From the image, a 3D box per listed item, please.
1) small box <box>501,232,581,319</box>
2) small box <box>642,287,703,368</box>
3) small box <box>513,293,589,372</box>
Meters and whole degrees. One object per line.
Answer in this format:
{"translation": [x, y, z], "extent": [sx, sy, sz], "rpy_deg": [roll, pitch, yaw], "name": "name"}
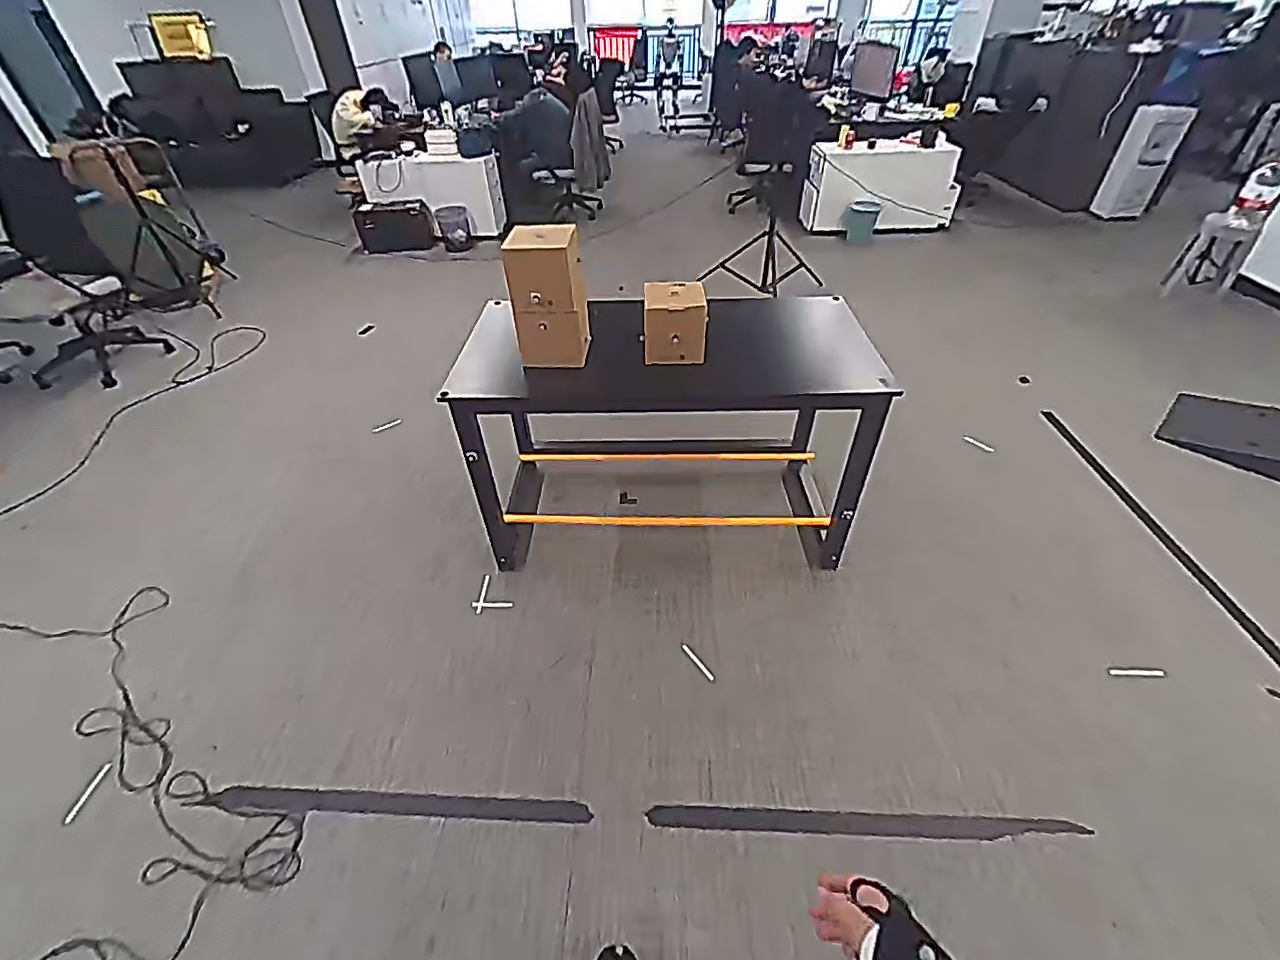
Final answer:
{"translation": [-0.253, -0.539, 1.426], "extent": [0.168, 0.176, 0.179], "rpy_deg": [-1, 42, 3], "name": "small box"}
{"translation": [0.091, -0.430, 1.538], "extent": [0.168, 0.176, 0.179], "rpy_deg": [-2, 41, 1], "name": "small box"}
{"translation": [-0.246, -0.417, 1.534], "extent": [0.179, 0.176, 0.168], "rpy_deg": [1, 41, 2], "name": "small box"}
